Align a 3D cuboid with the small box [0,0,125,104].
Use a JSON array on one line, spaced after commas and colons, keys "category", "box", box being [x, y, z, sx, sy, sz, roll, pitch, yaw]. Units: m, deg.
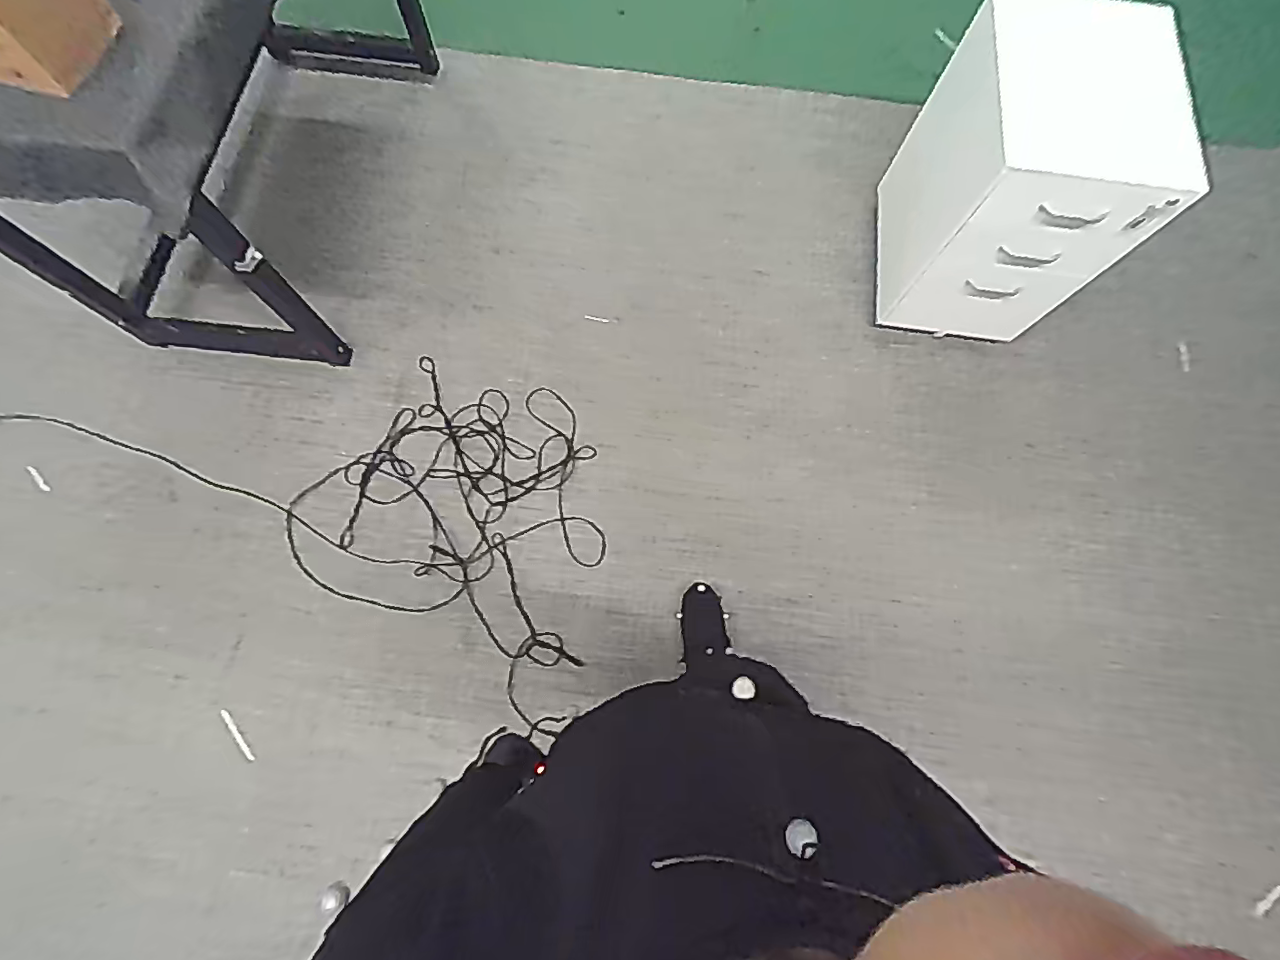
[{"category": "small box", "box": [-0.945, -0.708, 0.807, 0.168, 0.176, 0.179, 13, 72, 2]}]
